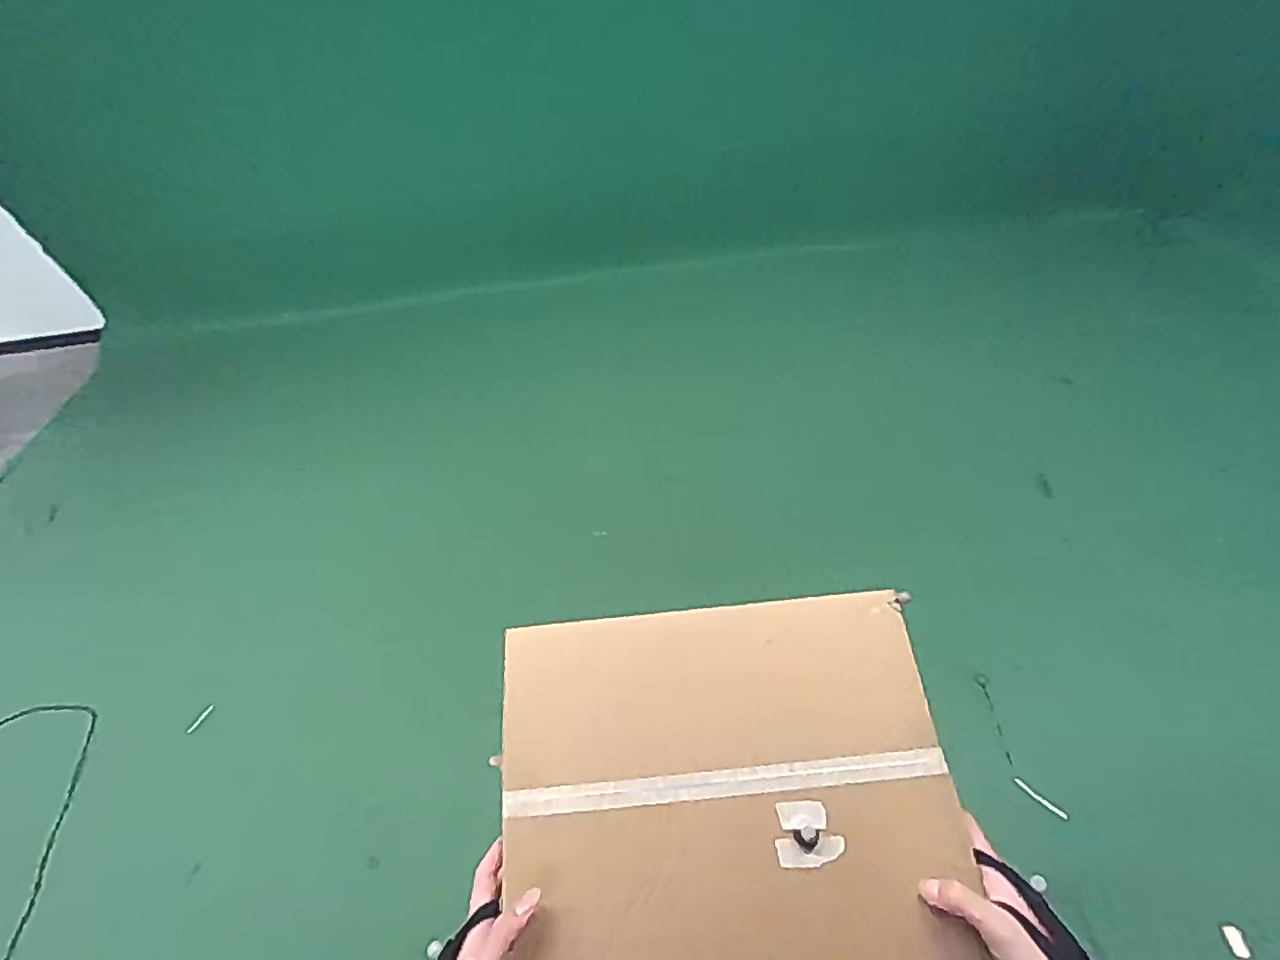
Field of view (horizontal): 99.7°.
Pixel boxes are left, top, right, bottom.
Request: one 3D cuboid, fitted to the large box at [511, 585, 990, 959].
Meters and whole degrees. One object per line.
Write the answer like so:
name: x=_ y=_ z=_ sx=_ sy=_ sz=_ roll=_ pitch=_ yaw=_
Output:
large box: x=0.084 y=0.335 z=0.642 sx=0.408 sy=0.320 sz=0.320 roll=-7 pitch=67 yaw=0
